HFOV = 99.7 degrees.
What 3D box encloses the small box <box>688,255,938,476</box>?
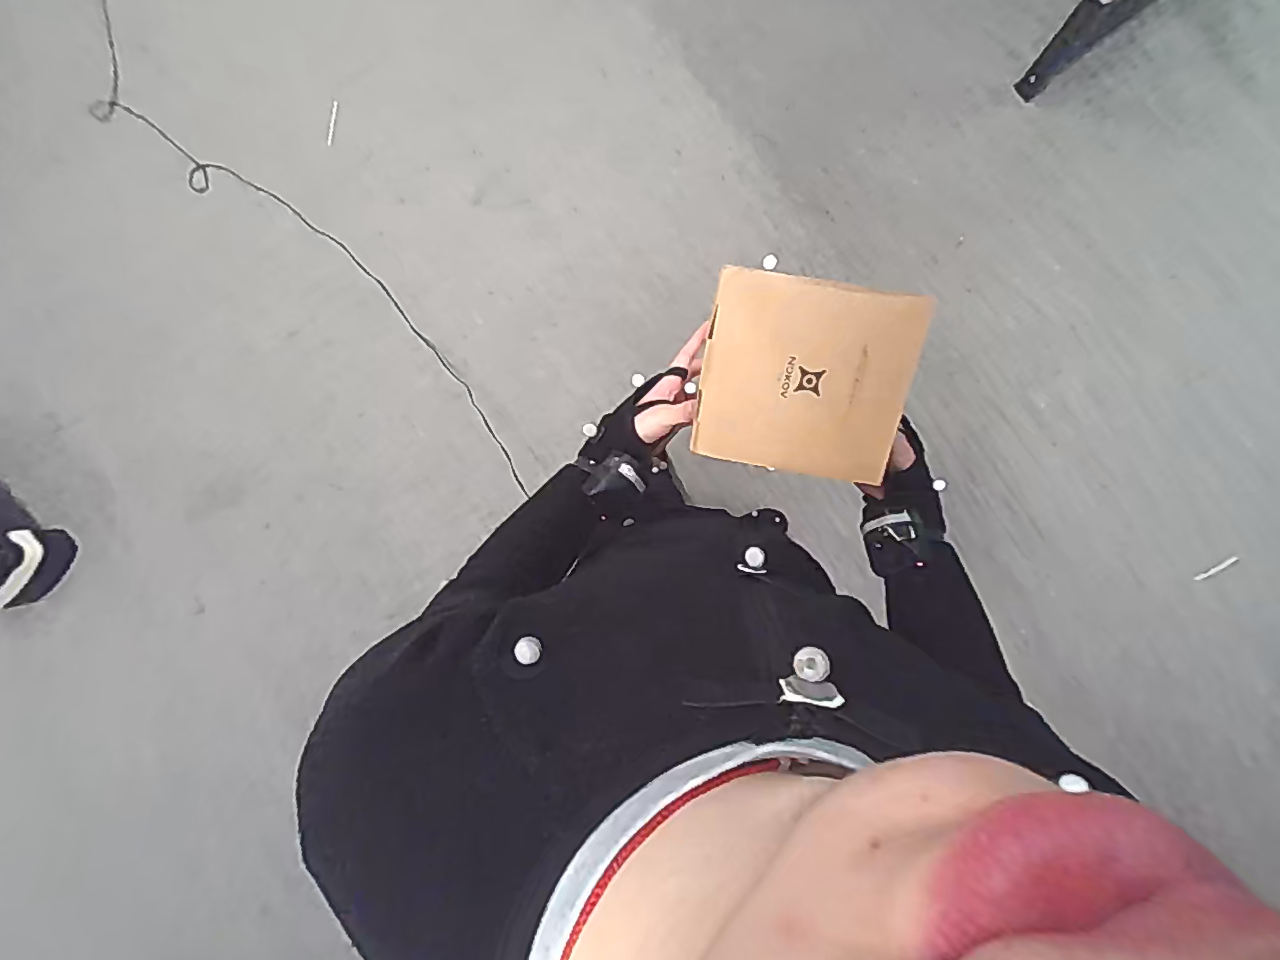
[{"bbox_3d":[0.149,-0.119,0.531,0.179,0.176,0.168,9,112,4],"label":"small box"}]
